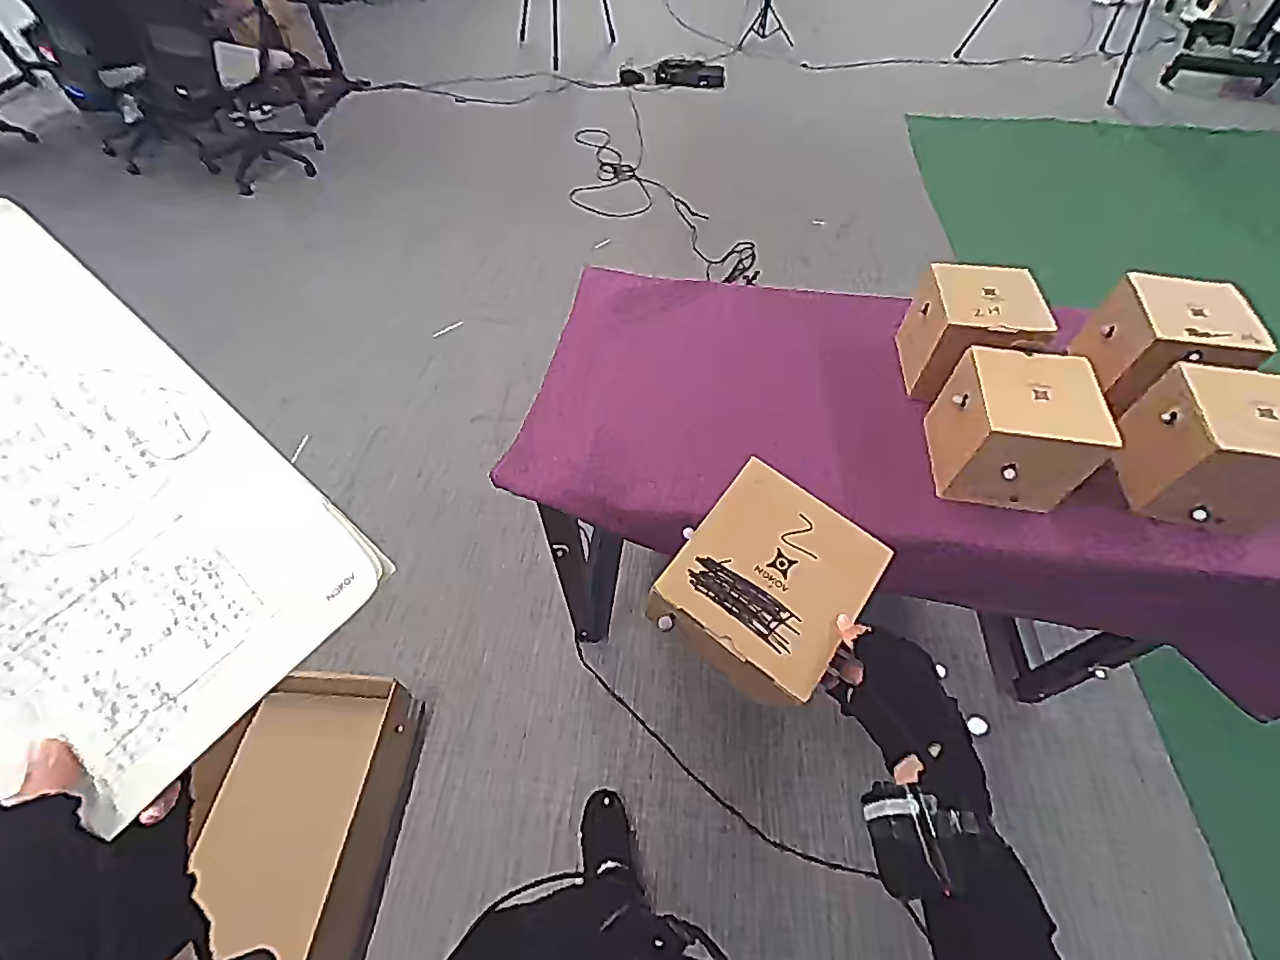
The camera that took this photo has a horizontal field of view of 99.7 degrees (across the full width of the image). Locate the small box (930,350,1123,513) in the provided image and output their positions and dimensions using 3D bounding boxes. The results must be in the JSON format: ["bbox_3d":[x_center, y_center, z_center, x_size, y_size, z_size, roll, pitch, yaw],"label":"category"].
[{"bbox_3d":[0.566,-0.069,0.822,0.168,0.176,0.179,9,55,7],"label":"small box"}]

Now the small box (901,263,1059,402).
[{"bbox_3d":[0.579,-0.251,0.952,0.168,0.176,0.179,7,55,5],"label":"small box"}]

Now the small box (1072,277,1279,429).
[{"bbox_3d":[0.889,-0.216,0.925,0.168,0.176,0.179,10,54,8],"label":"small box"}]
